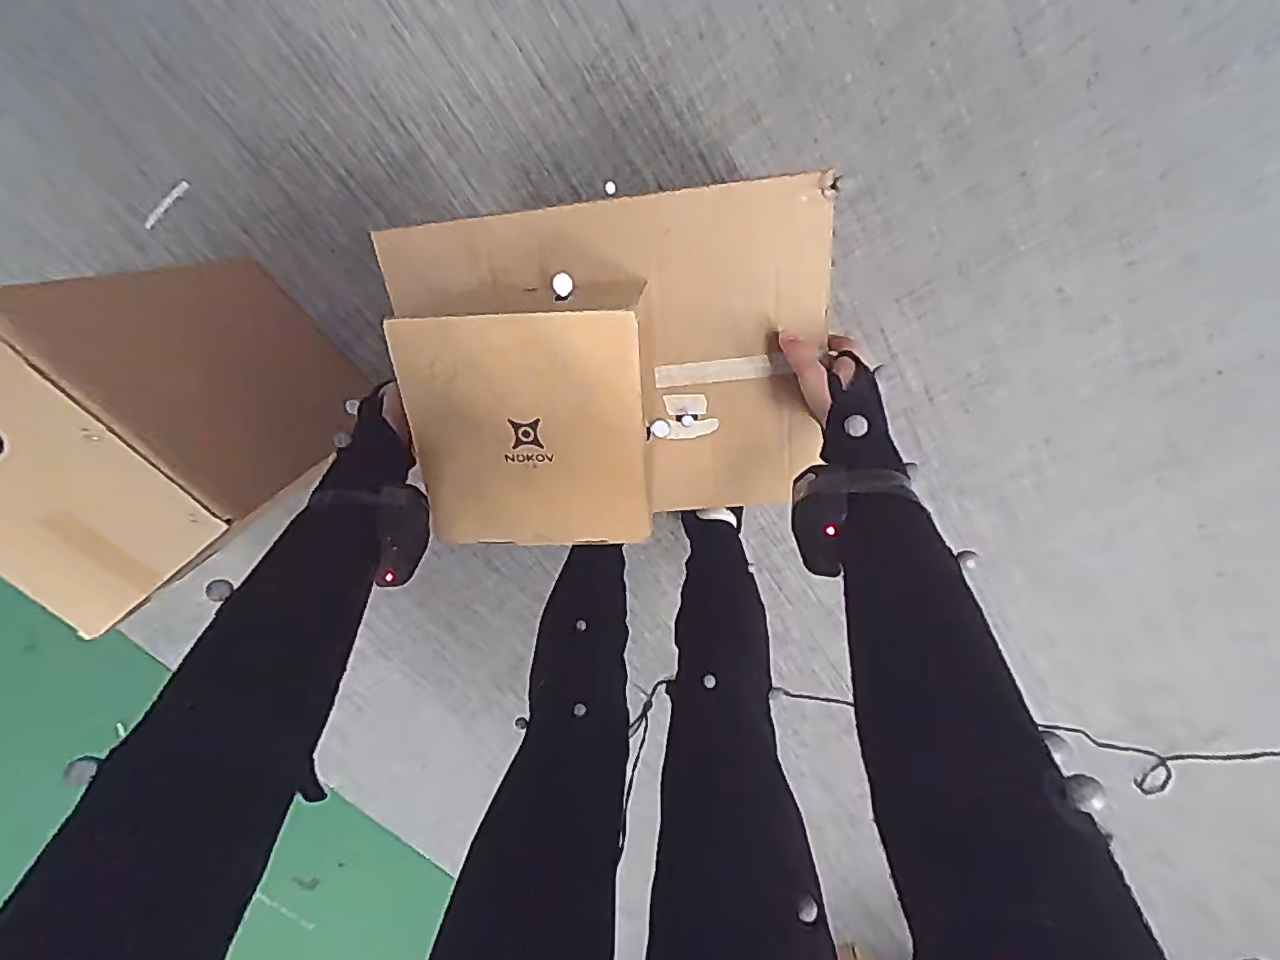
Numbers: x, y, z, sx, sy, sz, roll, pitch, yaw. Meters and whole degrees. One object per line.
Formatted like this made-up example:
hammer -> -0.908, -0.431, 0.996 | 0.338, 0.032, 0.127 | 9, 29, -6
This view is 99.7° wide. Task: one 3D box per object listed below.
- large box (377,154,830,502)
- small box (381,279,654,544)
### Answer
large box -> -0.015, -0.175, 0.658 | 0.408, 0.320, 0.320 | -6, 118, 6
small box -> -0.075, -0.066, 0.444 | 0.168, 0.176, 0.179 | -1, 117, 5
